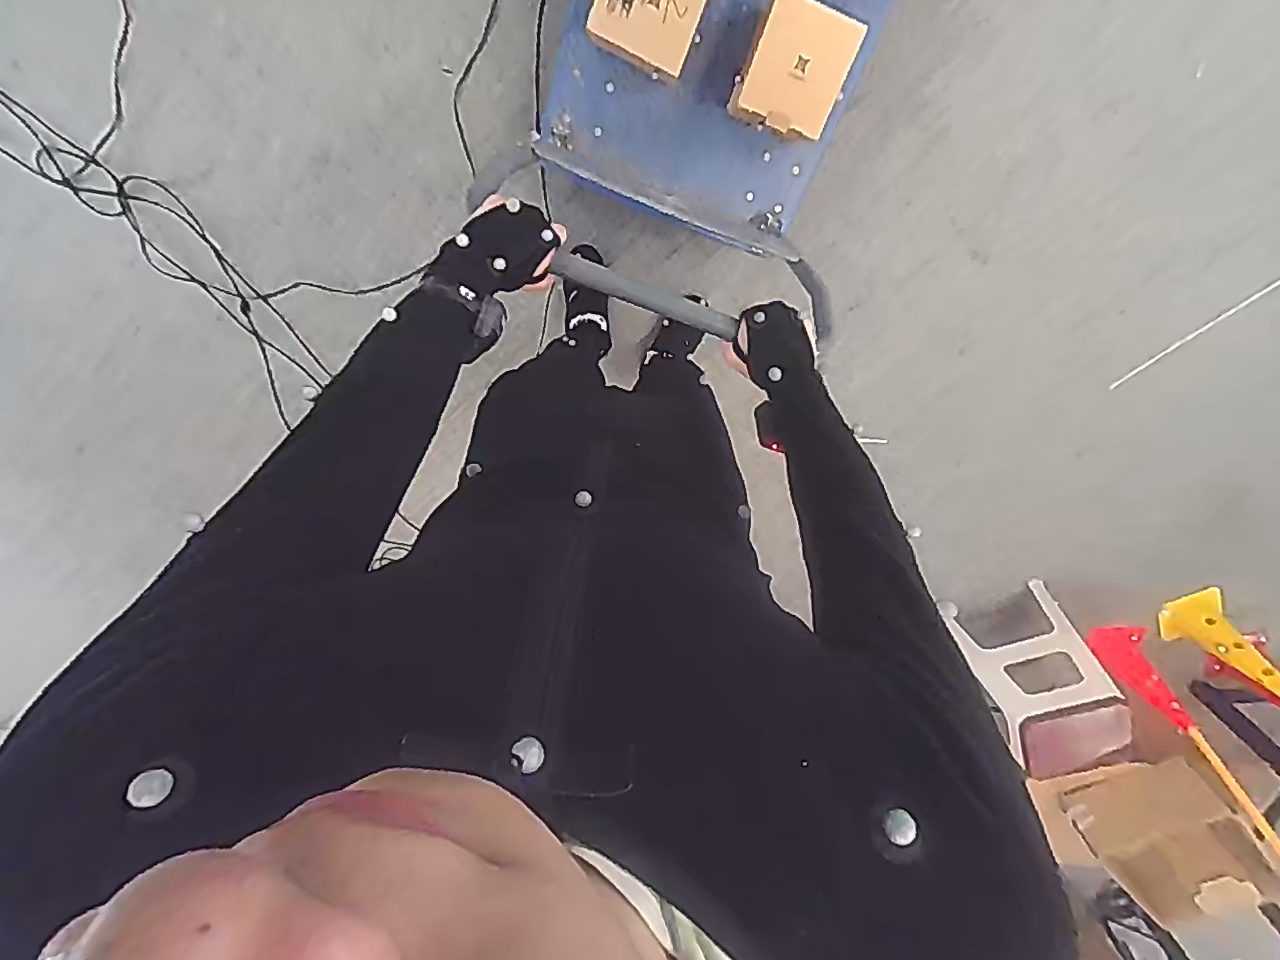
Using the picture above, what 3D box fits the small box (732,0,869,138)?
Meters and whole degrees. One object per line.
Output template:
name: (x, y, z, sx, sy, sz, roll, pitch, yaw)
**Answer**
small box: (0.281, -0.760, 0.998, 0.168, 0.176, 0.179, 18, 122, -10)
